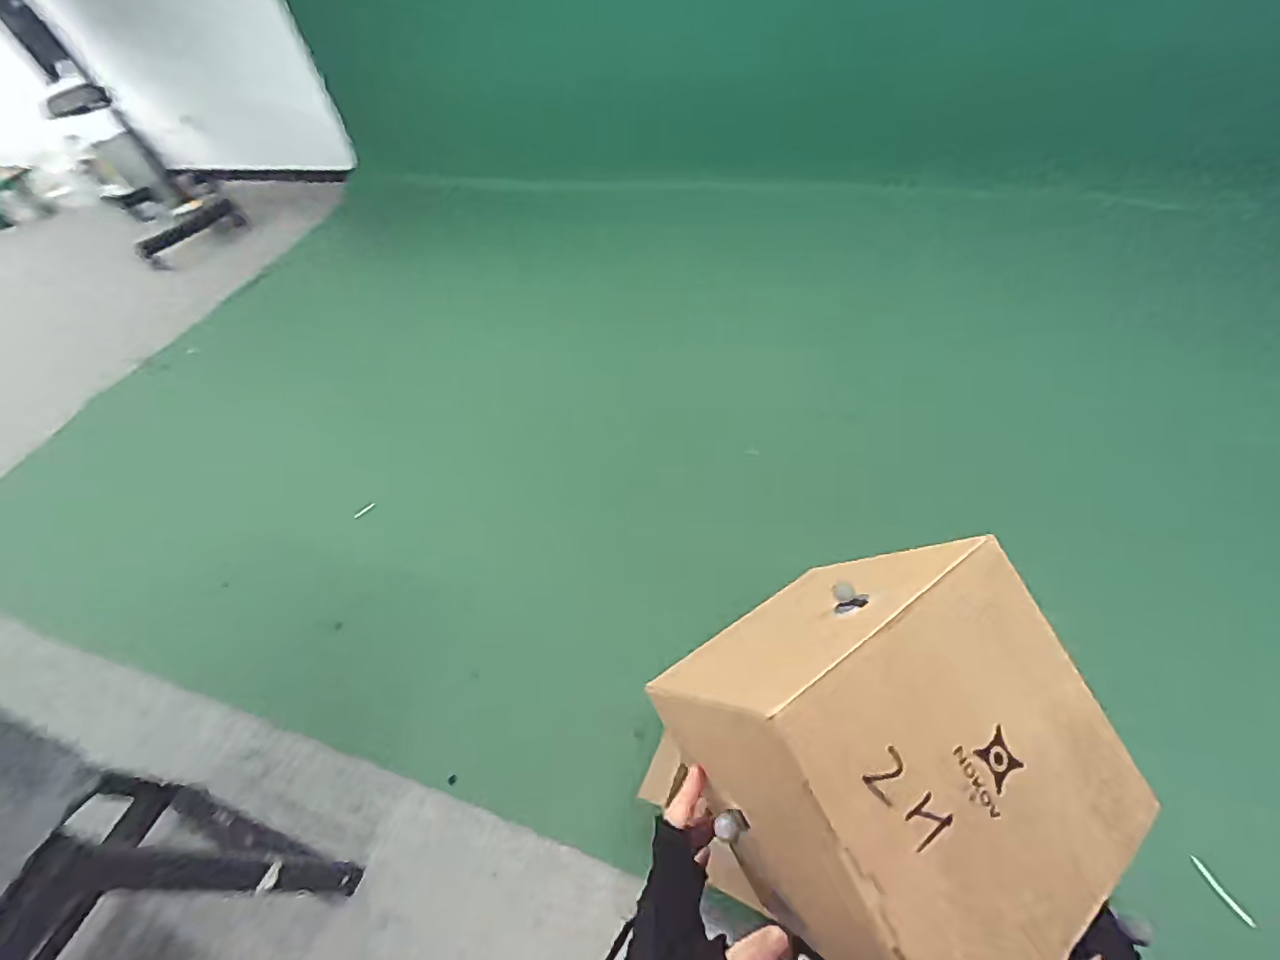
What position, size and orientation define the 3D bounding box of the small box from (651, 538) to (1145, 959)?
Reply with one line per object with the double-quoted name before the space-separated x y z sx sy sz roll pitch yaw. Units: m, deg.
"small box" 0.135 0.156 0.331 0.179 0.176 0.168 -27 83 -25
